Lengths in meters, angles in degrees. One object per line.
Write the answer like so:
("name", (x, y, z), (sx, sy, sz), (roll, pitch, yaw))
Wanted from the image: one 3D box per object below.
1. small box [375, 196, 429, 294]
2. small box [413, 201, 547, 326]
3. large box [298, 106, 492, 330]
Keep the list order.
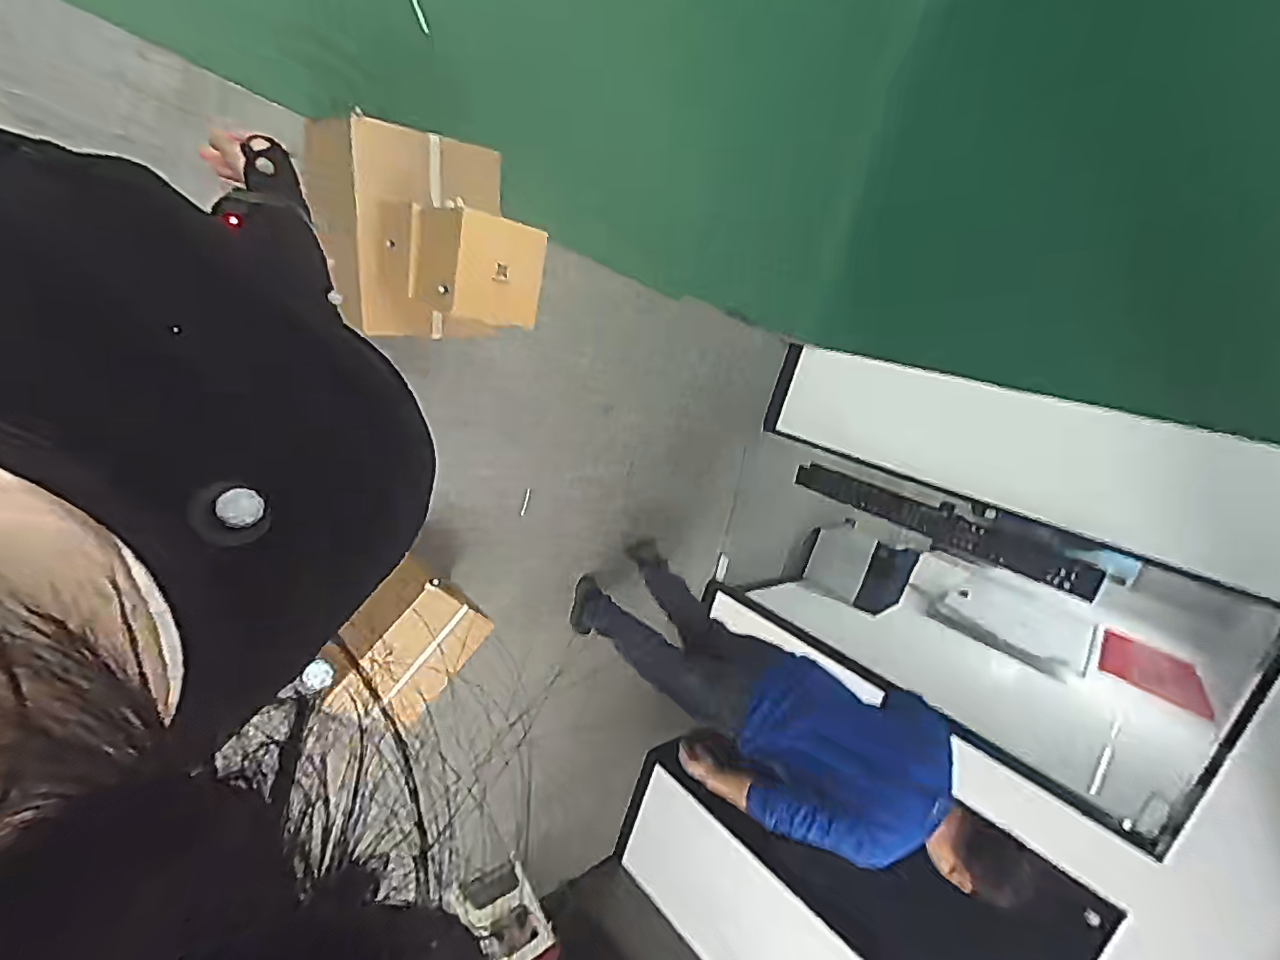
("small box", (-0.412, -0.456, 1.083), (0.179, 0.176, 0.168), (-7, 117, -45))
("small box", (-0.297, -0.394, 0.987), (0.168, 0.176, 0.179), (-5, 116, -46))
("large box", (-0.557, -0.573, 1.249), (0.320, 0.320, 0.408), (-15, 120, -44))
